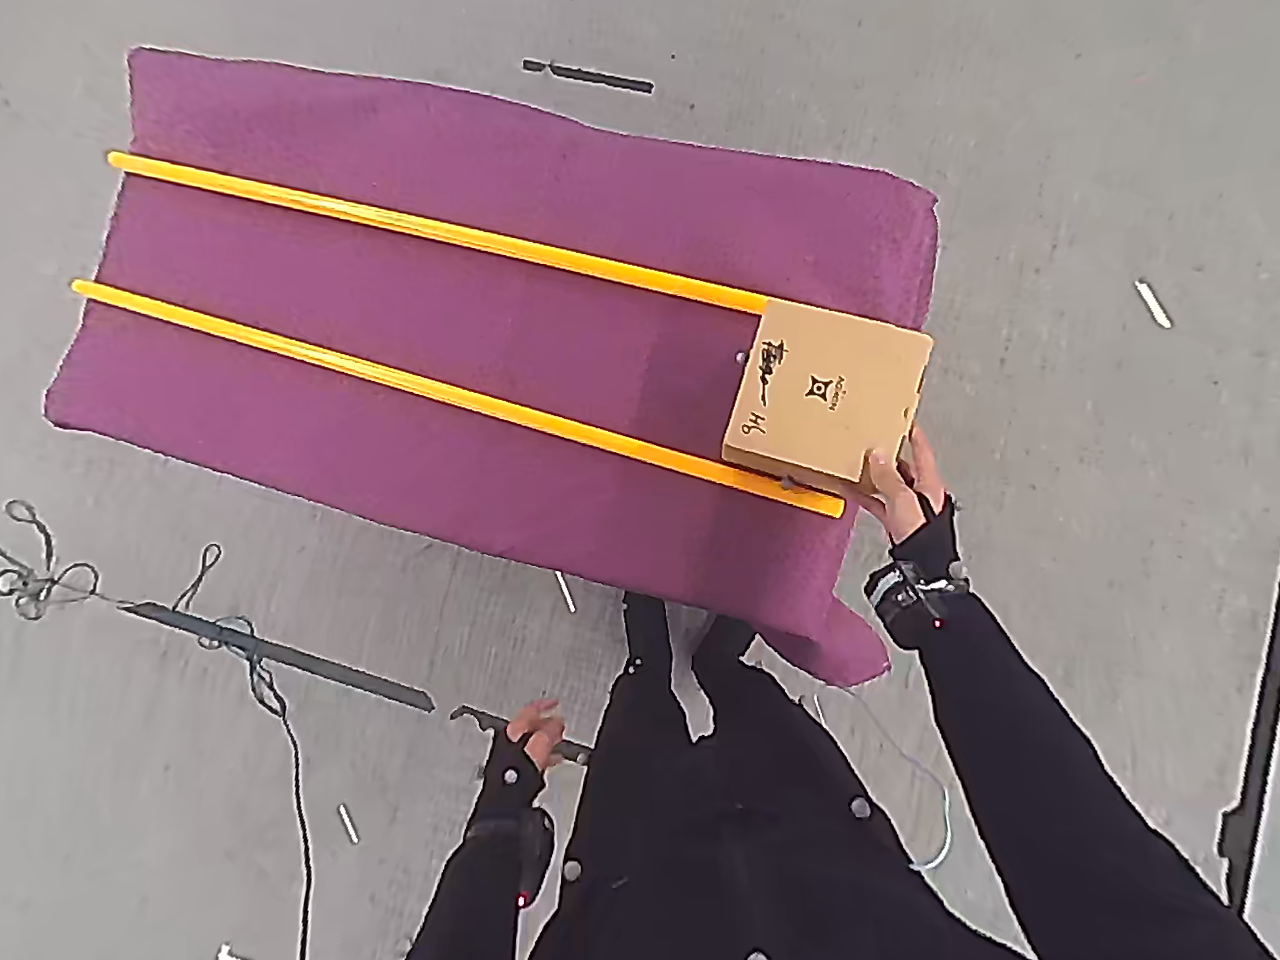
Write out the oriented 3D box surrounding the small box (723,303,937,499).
[{"bbox_3d":[0.204,-0.080,0.633,0.179,0.176,0.168,18,89,9],"label":"small box"}]
